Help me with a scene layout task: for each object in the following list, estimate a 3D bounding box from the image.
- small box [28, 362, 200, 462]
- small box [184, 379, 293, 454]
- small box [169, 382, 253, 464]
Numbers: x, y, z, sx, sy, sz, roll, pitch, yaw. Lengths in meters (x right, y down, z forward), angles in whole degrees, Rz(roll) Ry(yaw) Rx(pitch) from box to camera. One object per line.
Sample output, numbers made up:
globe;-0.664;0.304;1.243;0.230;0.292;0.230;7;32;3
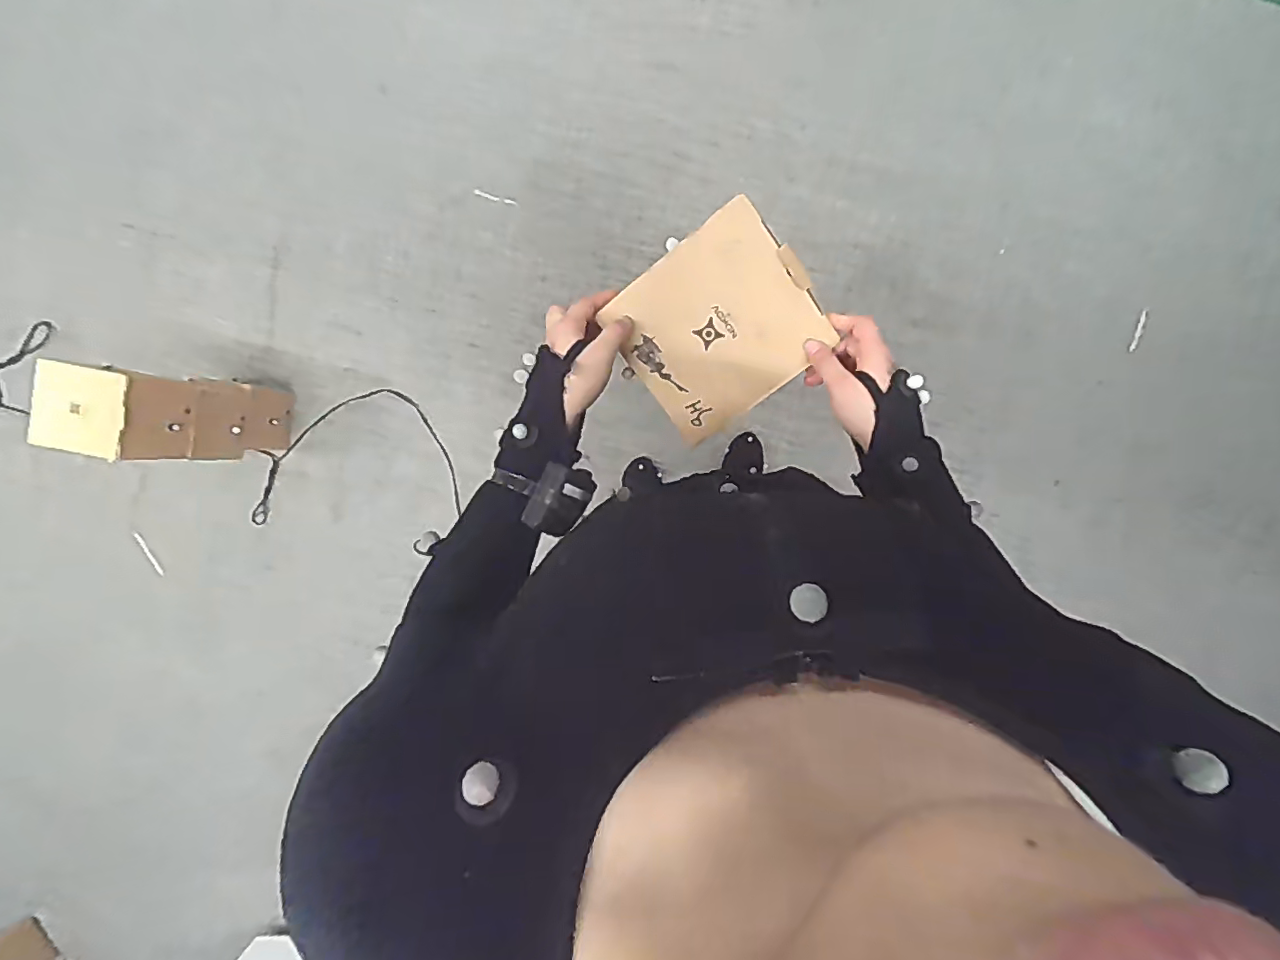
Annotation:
small box;-1.054;-0.131;1.094;0.179;0.176;0.168;10;93;0
small box;-1.051;-0.162;1.419;0.179;0.176;0.168;8;93;2
small box;-1.055;-0.135;1.257;0.179;0.176;0.168;12;94;0
